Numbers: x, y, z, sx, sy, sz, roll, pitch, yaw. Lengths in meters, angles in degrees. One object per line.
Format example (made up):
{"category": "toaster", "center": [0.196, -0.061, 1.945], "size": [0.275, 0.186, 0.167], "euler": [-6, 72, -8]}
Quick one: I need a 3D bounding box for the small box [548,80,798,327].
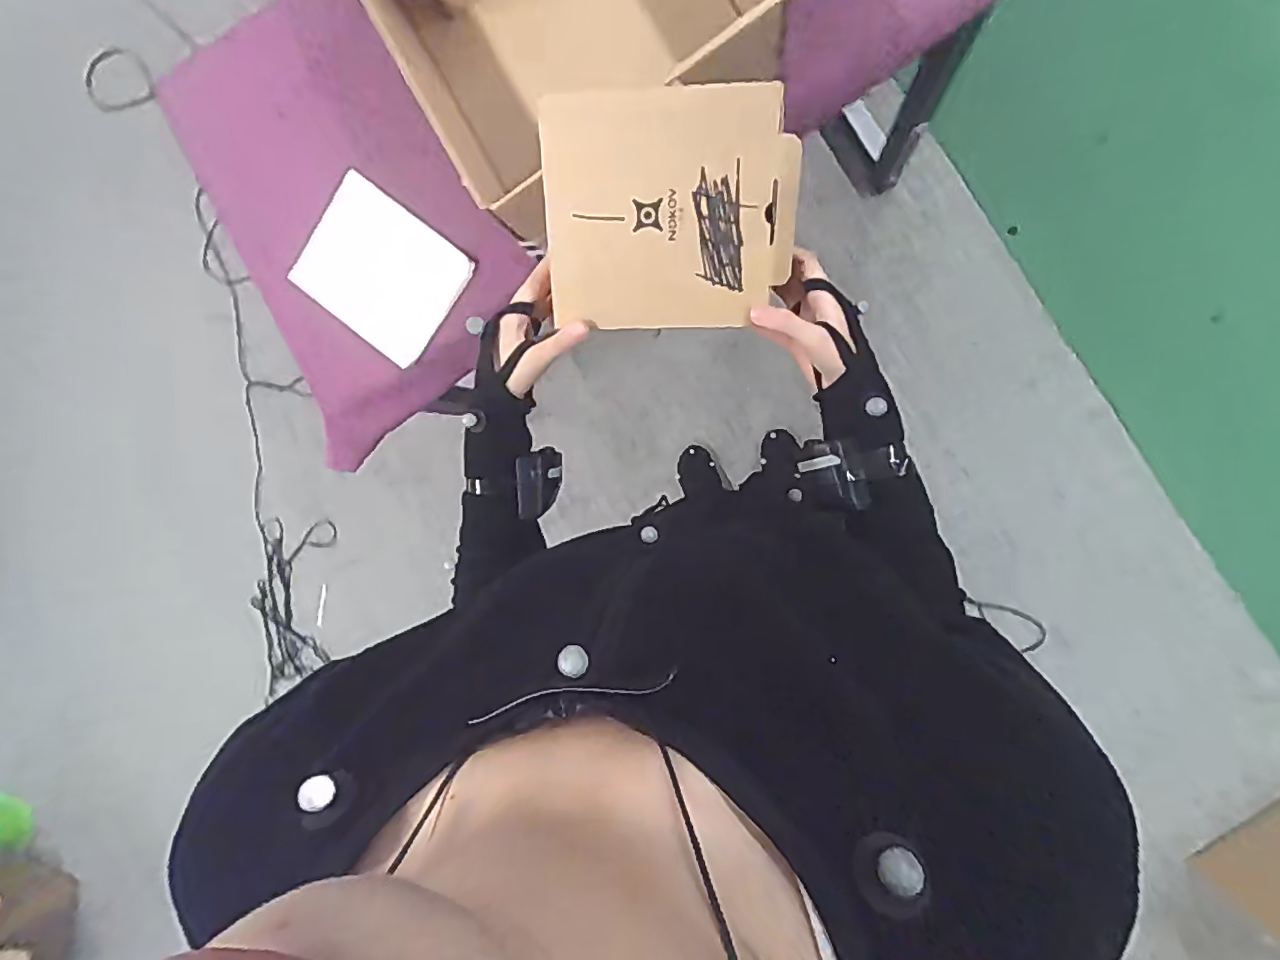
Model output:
{"category": "small box", "center": [0.027, -0.229, 0.475], "size": [0.179, 0.176, 0.168], "euler": [1, 111, 4]}
